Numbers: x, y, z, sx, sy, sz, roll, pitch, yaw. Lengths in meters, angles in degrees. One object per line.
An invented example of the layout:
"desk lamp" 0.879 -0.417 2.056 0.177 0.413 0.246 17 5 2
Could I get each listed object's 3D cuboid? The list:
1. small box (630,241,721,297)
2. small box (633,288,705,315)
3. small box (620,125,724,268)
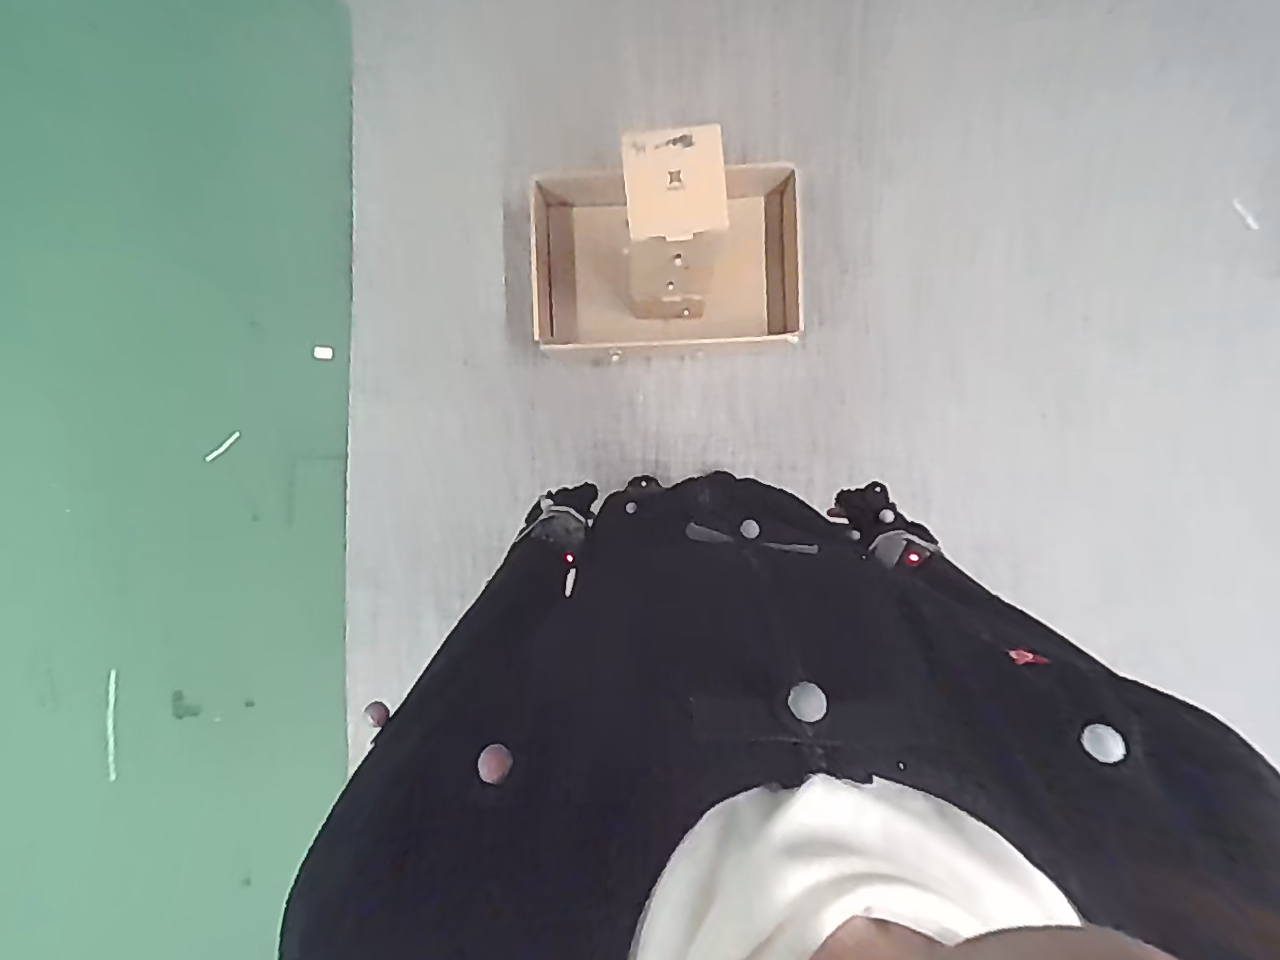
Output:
"small box" 0.067 -0.496 1.135 0.179 0.176 0.168 -5 92 1
"small box" 0.070 -0.503 1.298 0.168 0.176 0.179 0 90 2
"small box" 0.057 -0.493 0.972 0.168 0.176 0.179 -4 92 2
